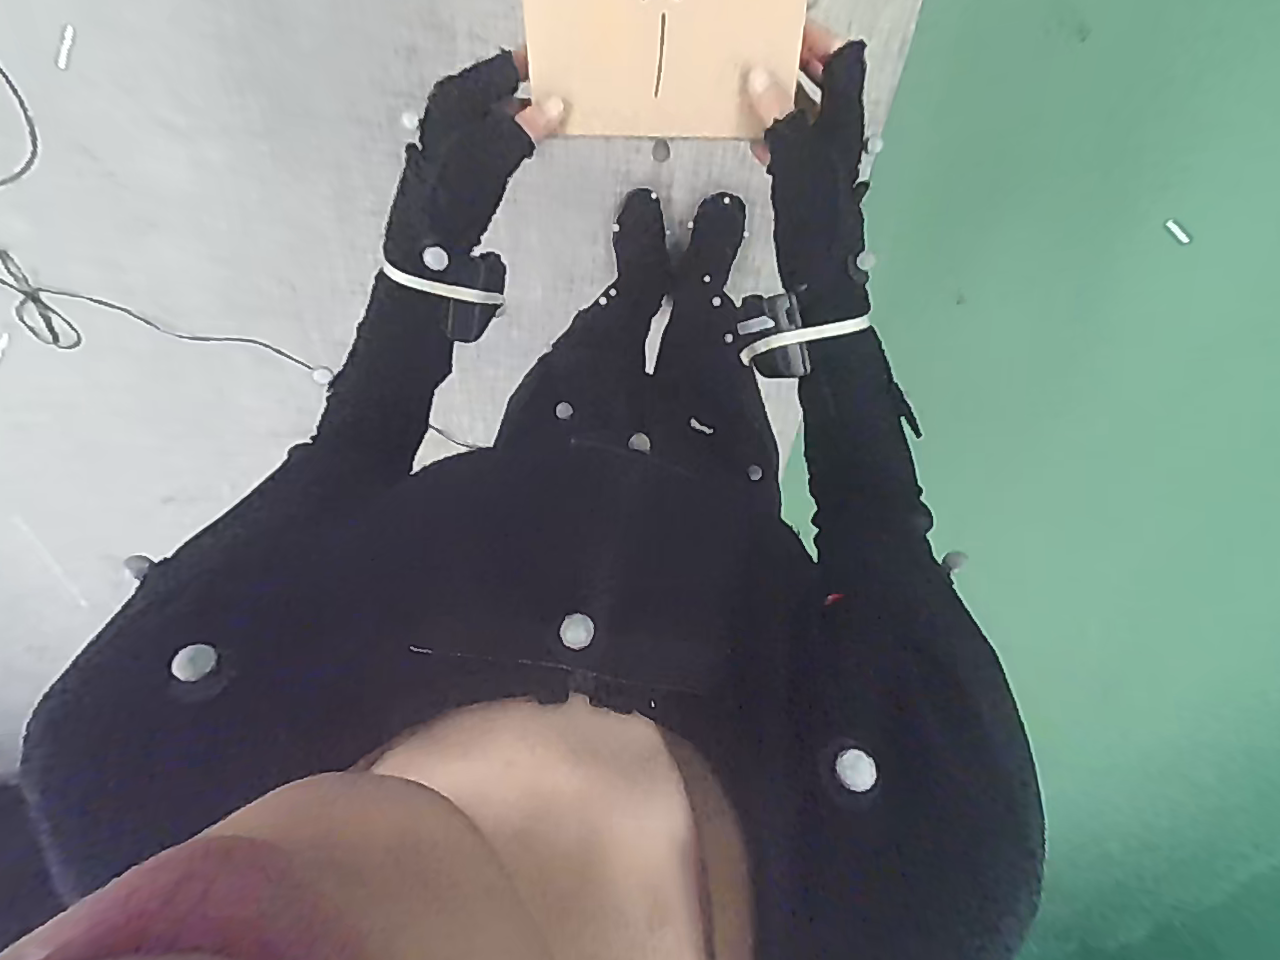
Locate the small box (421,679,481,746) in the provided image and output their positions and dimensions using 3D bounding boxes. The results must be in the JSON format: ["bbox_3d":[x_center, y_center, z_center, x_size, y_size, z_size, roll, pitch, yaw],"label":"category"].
[{"bbox_3d":[-0.719,0.890,2.075,0.168,0.176,0.179,5,125,0],"label":"small box"}]

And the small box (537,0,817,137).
[{"bbox_3d":[0.028,-0.340,0.367,0.168,0.176,0.179,4,123,5],"label":"small box"}]
